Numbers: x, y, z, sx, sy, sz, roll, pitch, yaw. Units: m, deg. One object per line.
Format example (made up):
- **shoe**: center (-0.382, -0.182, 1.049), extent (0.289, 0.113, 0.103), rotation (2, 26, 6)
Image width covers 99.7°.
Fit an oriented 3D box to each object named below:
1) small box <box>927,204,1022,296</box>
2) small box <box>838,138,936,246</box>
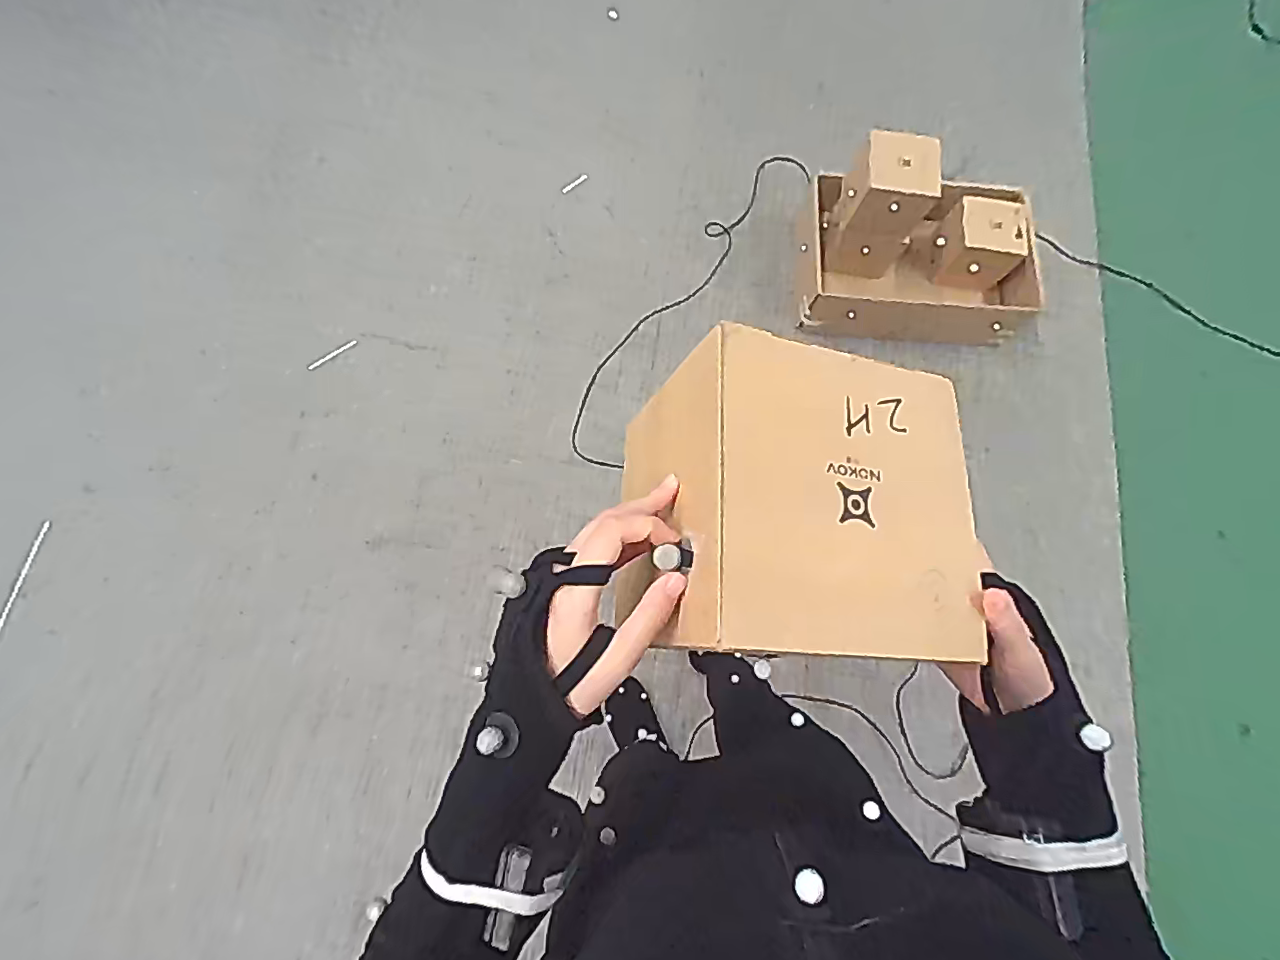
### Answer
- **small box**: center (0.944, -0.650, 1.543), extent (0.179, 0.176, 0.168), rotation (8, 75, 0)
- **small box**: center (0.621, -0.723, 1.375), extent (0.179, 0.176, 0.168), rotation (8, 77, -2)
